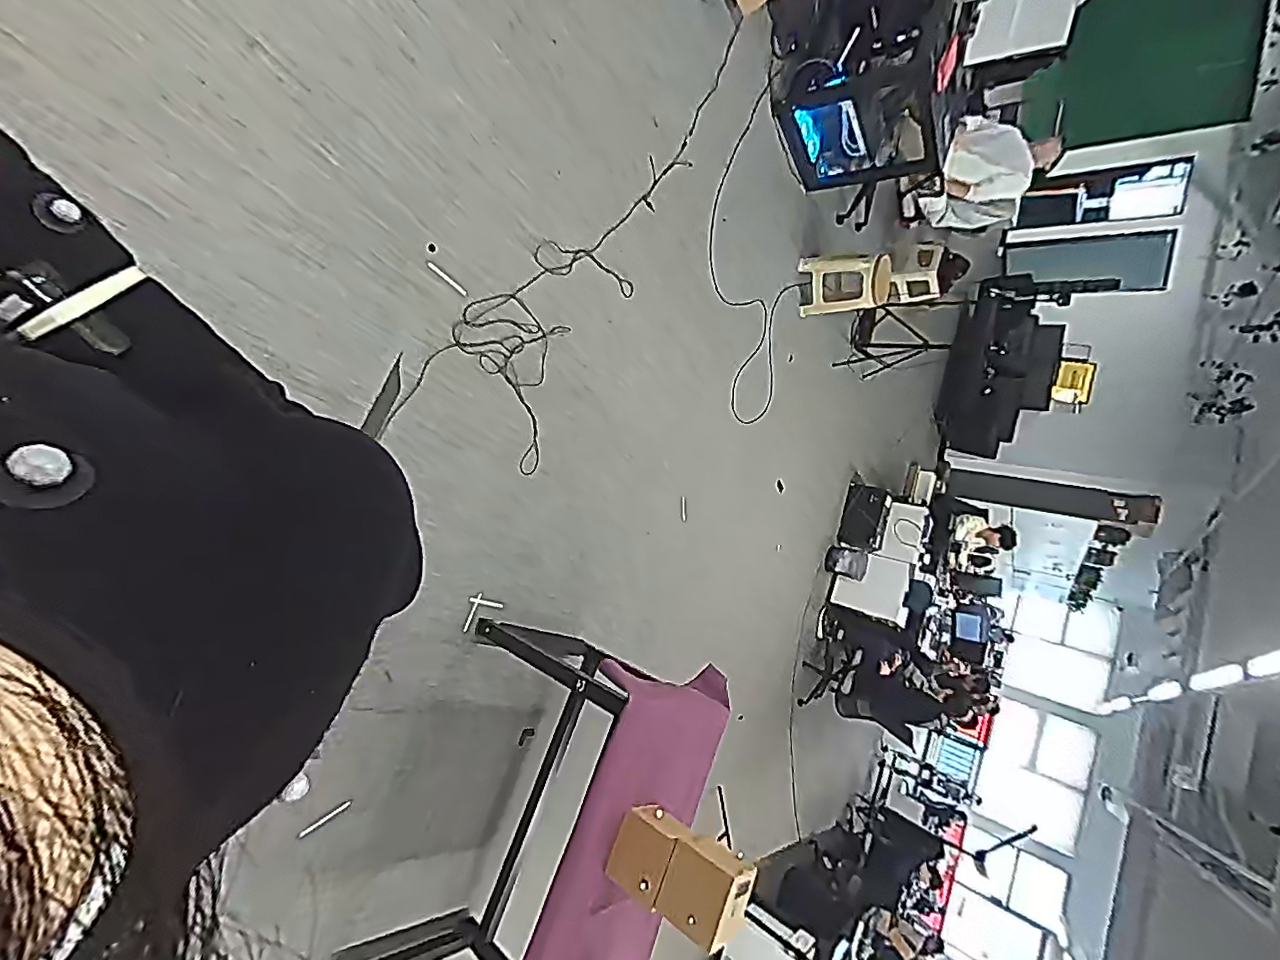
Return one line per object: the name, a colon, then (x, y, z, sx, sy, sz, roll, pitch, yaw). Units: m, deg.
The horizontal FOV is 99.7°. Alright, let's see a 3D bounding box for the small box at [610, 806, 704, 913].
small box: (0.042, 1.027, 1.479, 0.168, 0.176, 0.179, 40, 69, -49)
